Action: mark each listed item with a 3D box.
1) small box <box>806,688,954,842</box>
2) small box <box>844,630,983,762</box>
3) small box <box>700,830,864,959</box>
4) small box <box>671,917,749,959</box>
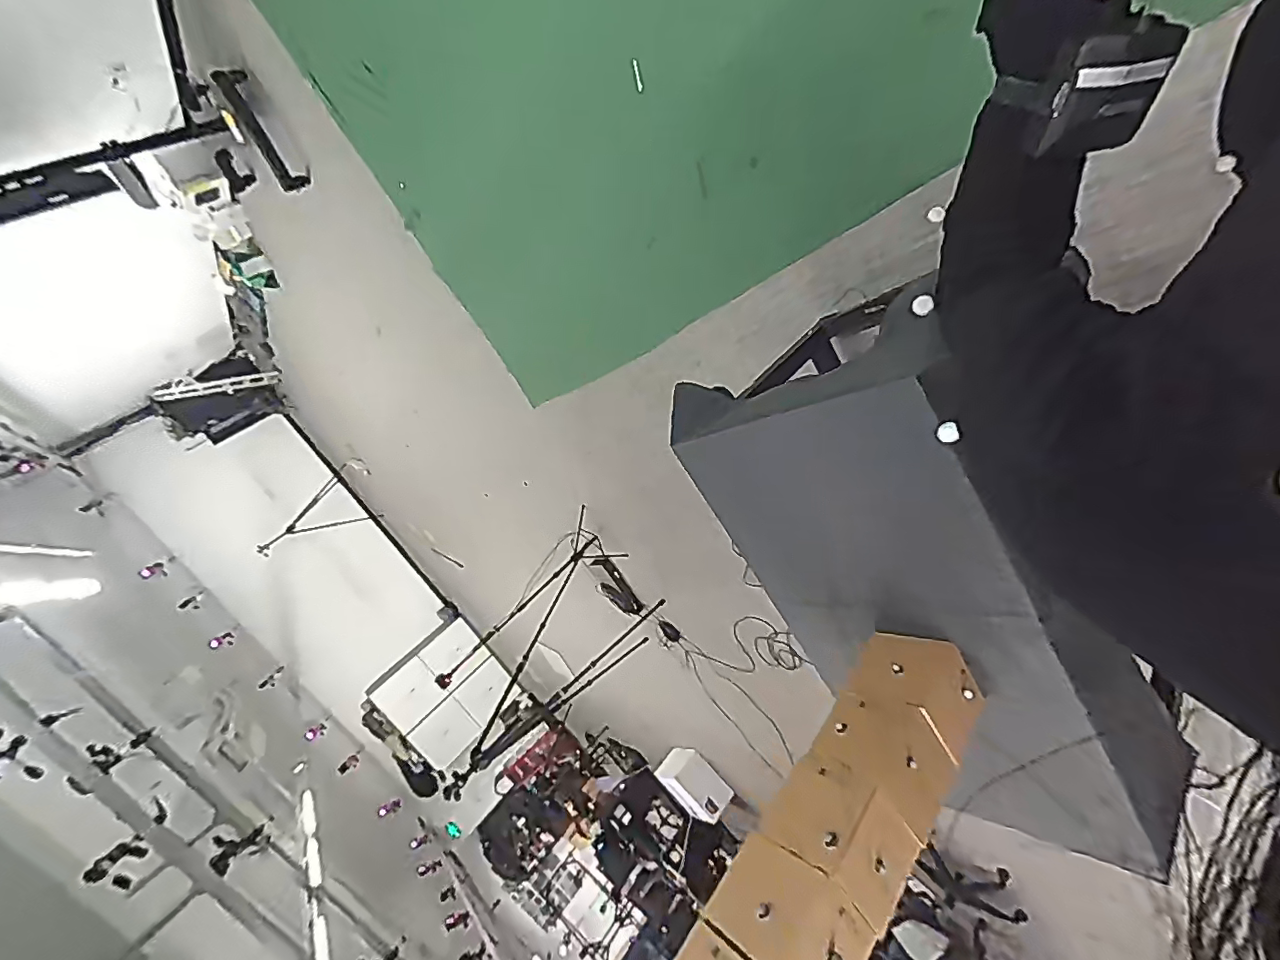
[{"bbox_3d":[0.459,0.529,1.032,0.179,0.176,0.168,55,150,-12],"label":"small box"},{"bbox_3d":[0.562,0.431,1.110,0.179,0.176,0.168,-12,116,55],"label":"small box"},{"bbox_3d":[0.240,0.723,0.886,0.168,0.176,0.179,55,149,-13],"label":"small box"},{"bbox_3d":[0.133,0.818,0.801,0.179,0.176,0.168,55,150,-14],"label":"small box"}]
